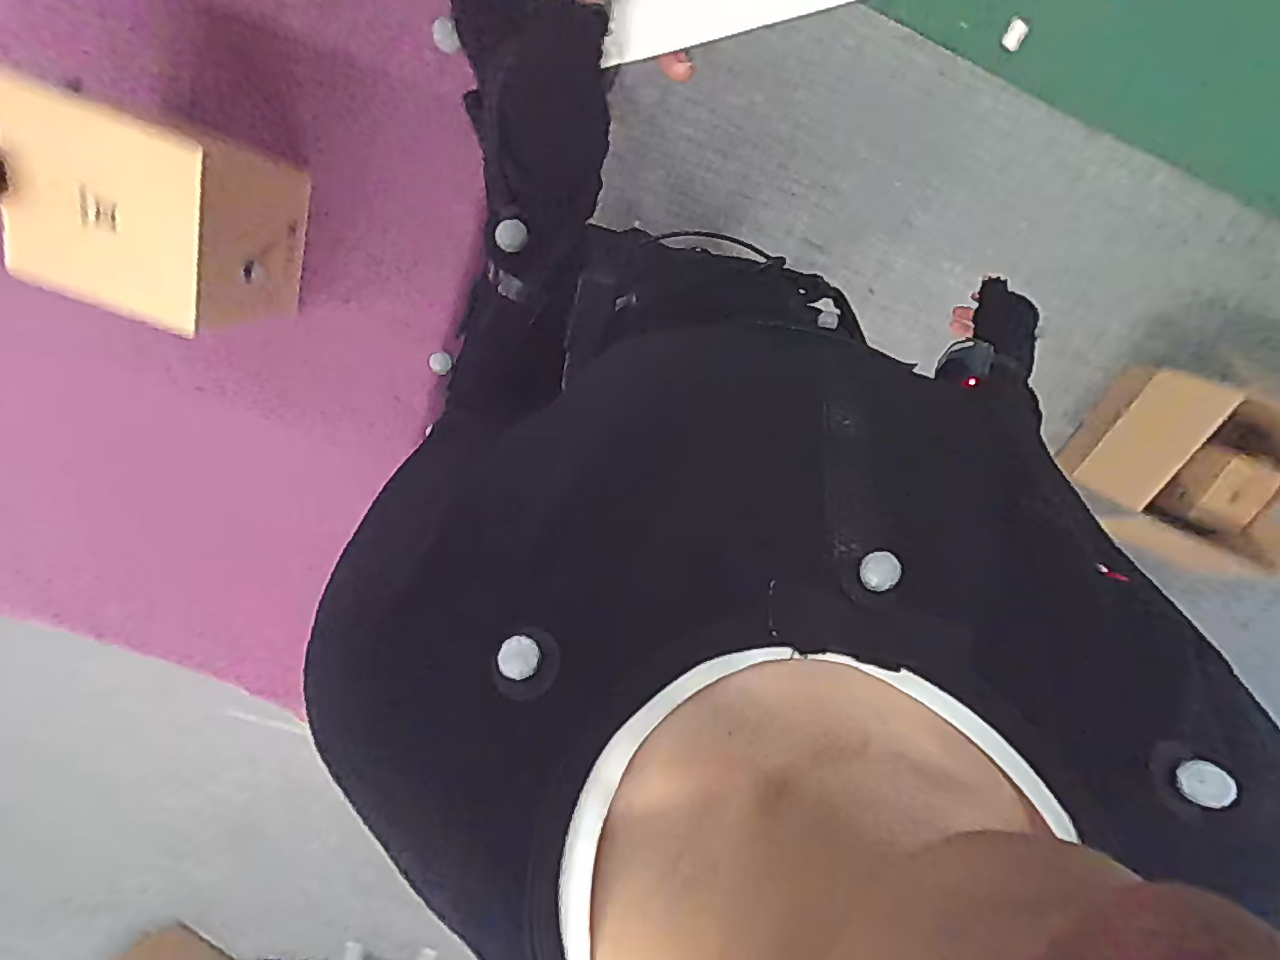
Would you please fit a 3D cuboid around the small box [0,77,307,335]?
[{"bbox_3d":[-0.479,-0.268,0.554,0.179,0.176,0.168,19,112,-6],"label":"small box"}]
